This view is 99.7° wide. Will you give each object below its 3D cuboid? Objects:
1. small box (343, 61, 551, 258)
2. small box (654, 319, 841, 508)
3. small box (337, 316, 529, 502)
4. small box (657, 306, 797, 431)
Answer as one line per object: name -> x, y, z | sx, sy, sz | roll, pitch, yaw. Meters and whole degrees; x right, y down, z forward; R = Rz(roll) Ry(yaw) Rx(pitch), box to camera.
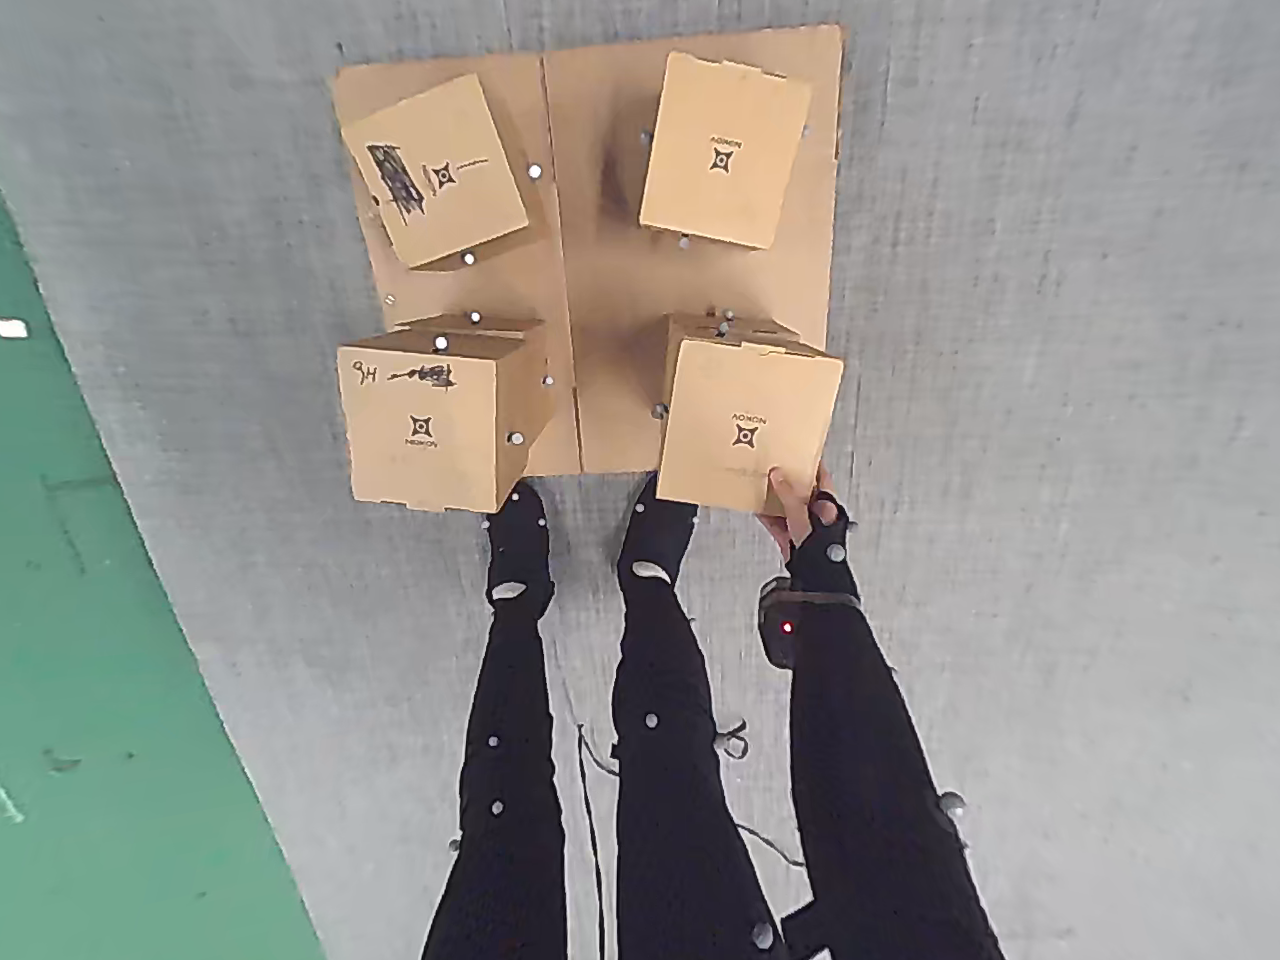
small box -> -0.236, -0.400, 0.711 | 0.179, 0.176, 0.168 | -16, 110, 7
small box -> 0.111, -0.088, 0.637 | 0.168, 0.176, 0.179 | 9, 110, 0
small box -> -0.234, -0.094, 0.656 | 0.168, 0.176, 0.179 | 6, 112, -1
small box -> 0.116, -0.152, 0.792 | 0.168, 0.176, 0.179 | 5, 111, 0
